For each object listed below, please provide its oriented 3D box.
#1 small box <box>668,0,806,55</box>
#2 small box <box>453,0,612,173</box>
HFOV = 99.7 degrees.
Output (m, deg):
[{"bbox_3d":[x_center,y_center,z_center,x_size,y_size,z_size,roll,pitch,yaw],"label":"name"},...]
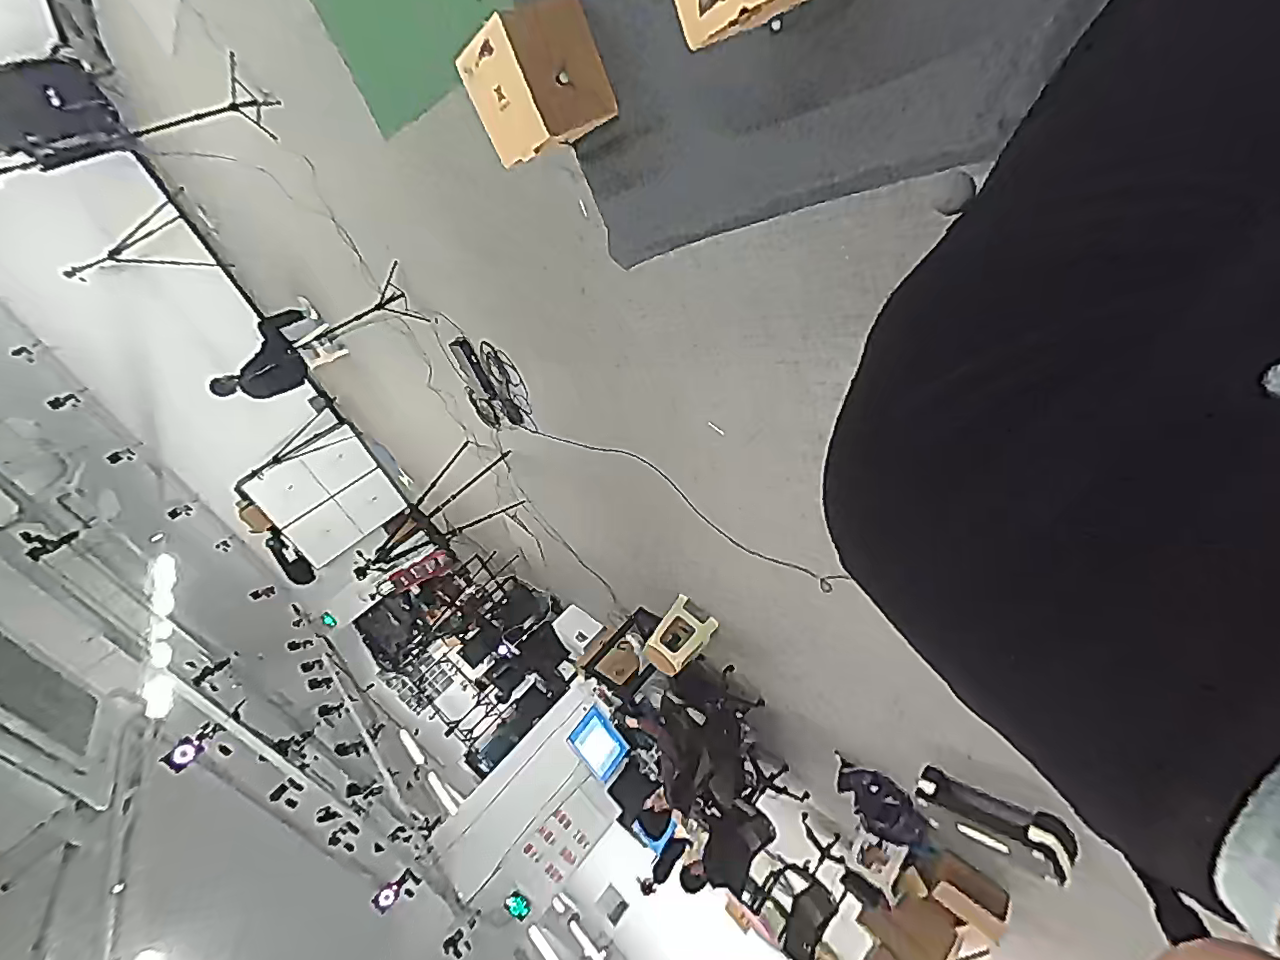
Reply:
[{"bbox_3d":[0.128,-0.607,0.578,0.168,0.176,0.179,13,136,48],"label":"small box"},{"bbox_3d":[-0.179,-0.672,0.933,0.168,0.176,0.179,9,135,48],"label":"small box"}]
